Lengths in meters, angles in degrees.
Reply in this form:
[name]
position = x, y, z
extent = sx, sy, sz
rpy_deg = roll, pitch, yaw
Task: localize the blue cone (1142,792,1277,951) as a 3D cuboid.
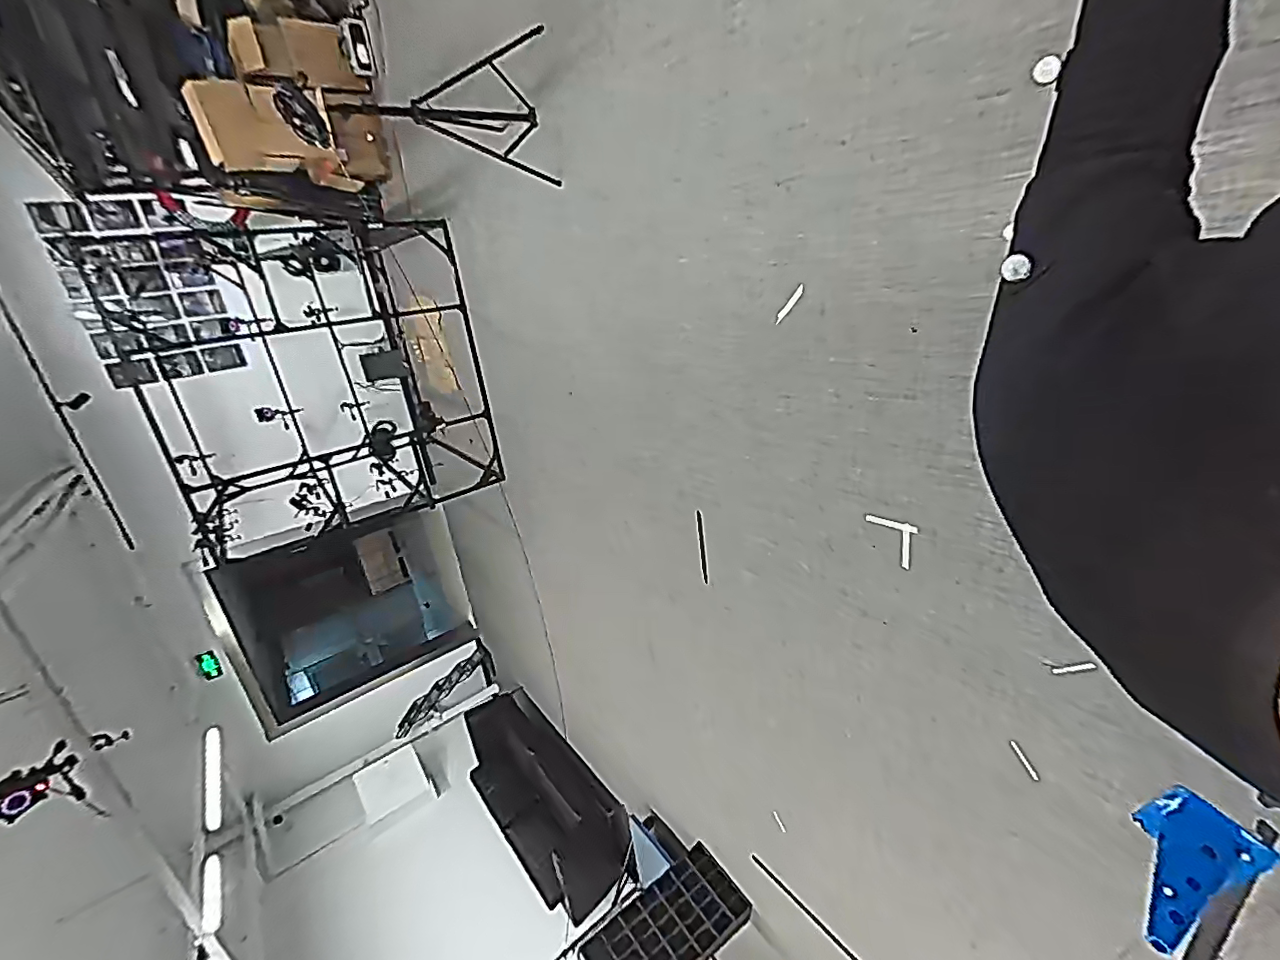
[blue cone]
position = 1.253, 0.922, 1.240
extent = 0.193, 0.380, 0.192
rpy_deg = 43, 141, 36
